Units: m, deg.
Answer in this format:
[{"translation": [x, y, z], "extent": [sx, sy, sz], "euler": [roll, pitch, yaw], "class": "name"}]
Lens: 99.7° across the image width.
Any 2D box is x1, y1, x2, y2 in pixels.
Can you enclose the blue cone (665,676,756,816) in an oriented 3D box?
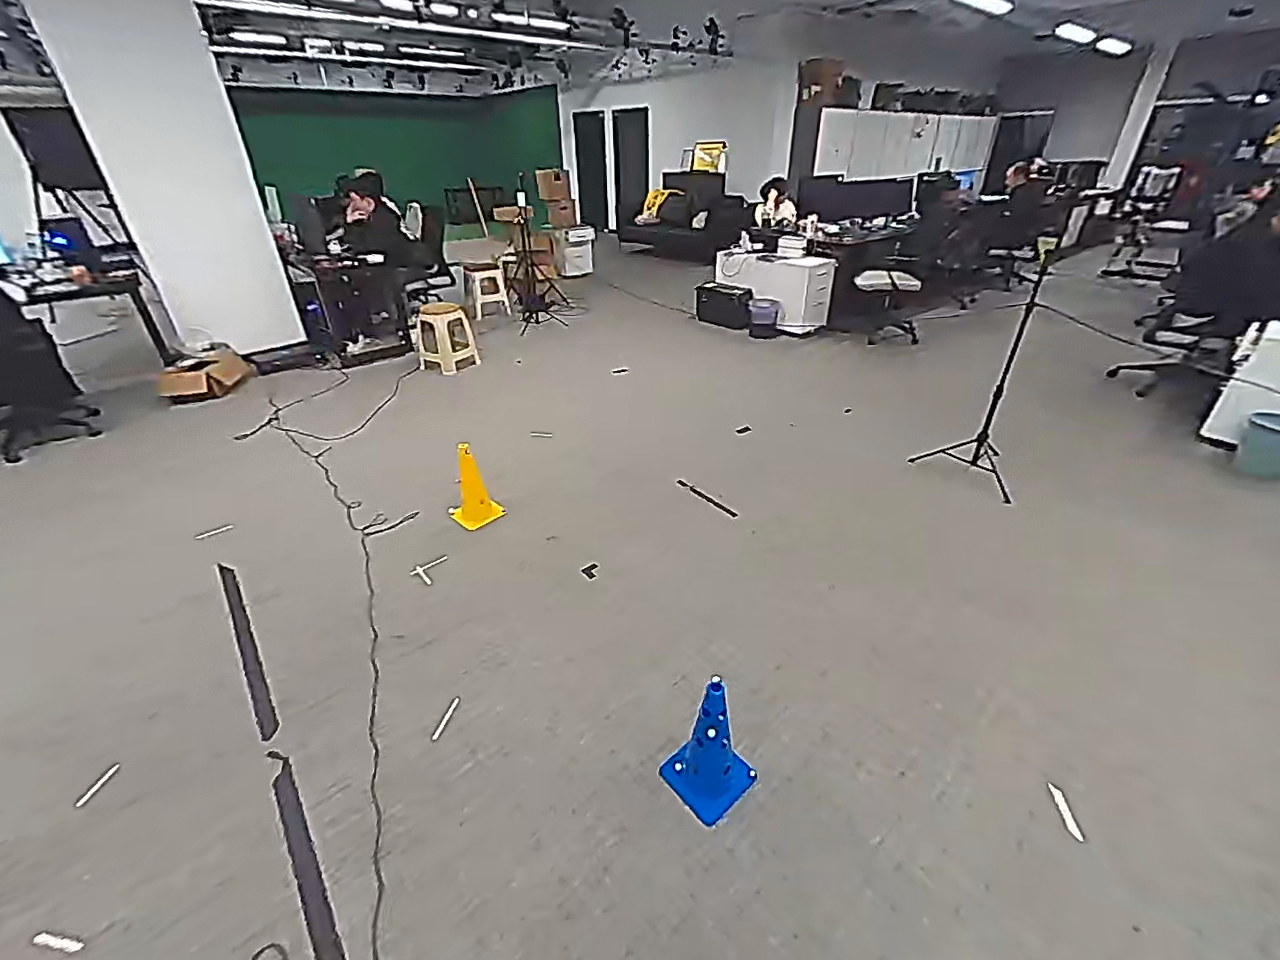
[{"translation": [0.184, 0.633, 1.352], "extent": [0.192, 0.380, 0.193], "euler": [-23, 38, -33], "class": "blue cone"}]
